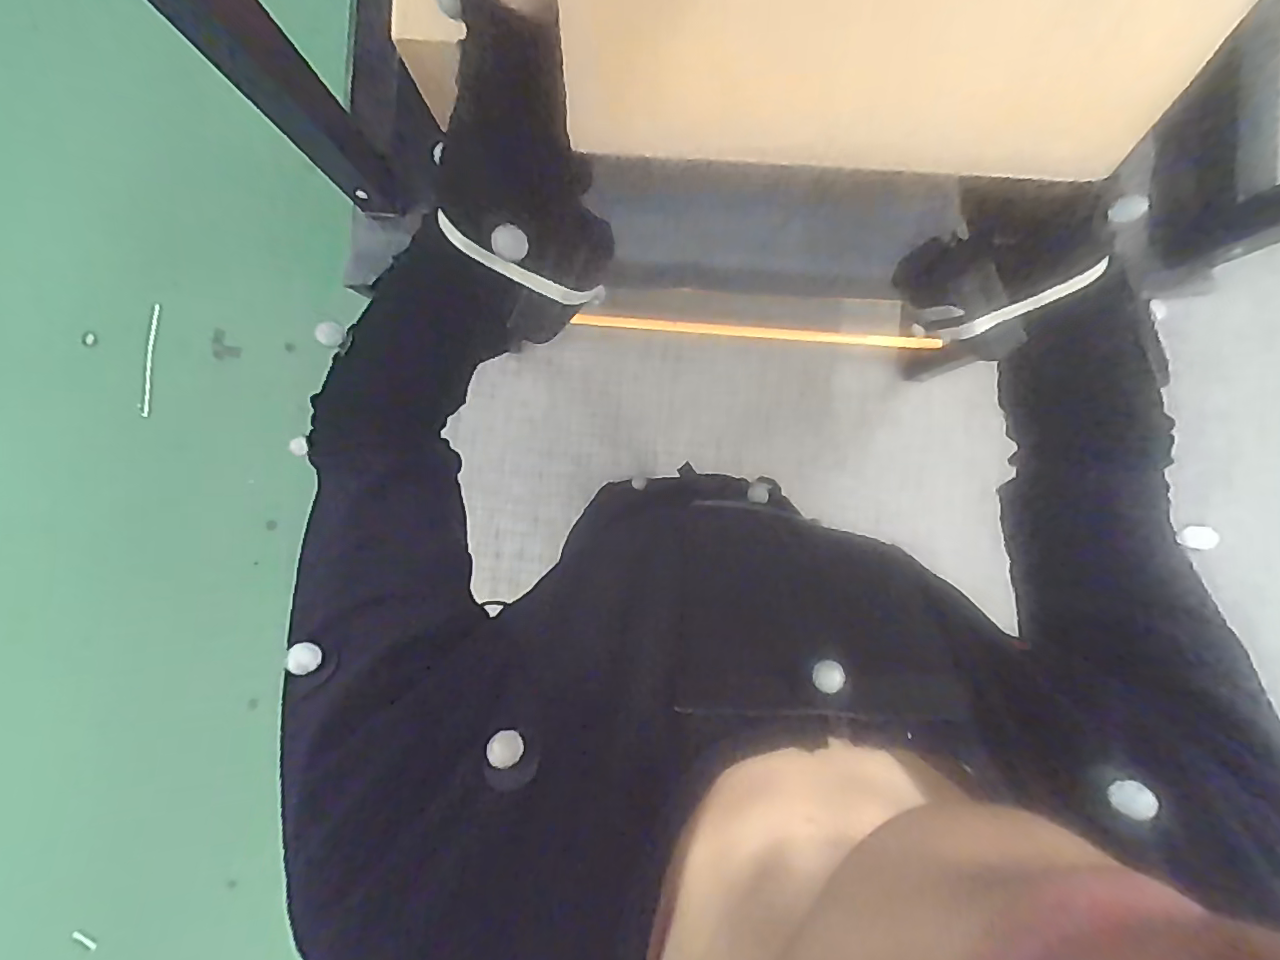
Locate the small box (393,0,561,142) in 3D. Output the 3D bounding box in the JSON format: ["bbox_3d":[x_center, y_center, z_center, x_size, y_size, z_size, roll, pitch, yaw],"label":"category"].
[{"bbox_3d":[-0.193,-0.577,0.692,0.168,0.176,0.179,4,89,0],"label":"small box"}]

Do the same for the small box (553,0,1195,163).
[{"bbox_3d":[0.065,-0.219,0.135,0.168,0.179,0.176,4,62,1],"label":"small box"}]
